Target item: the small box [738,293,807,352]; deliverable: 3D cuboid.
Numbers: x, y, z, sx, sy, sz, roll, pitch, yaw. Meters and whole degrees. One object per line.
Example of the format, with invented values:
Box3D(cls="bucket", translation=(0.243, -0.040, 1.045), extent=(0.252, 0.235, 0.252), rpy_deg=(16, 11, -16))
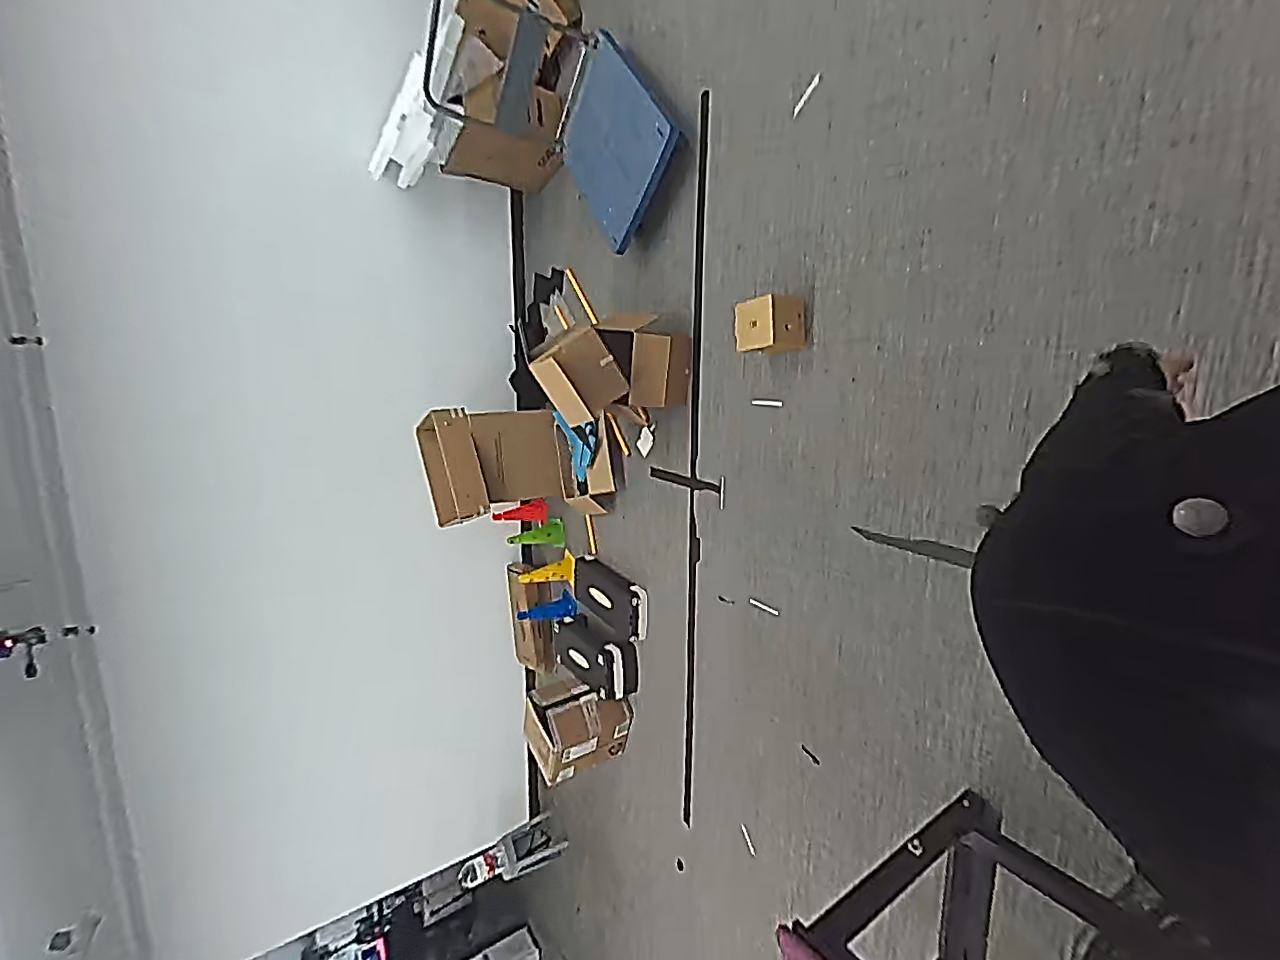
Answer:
Box3D(cls="small box", translation=(0.464, -0.542, 1.876), extent=(0.179, 0.176, 0.168), rpy_deg=(4, 99, 57))
